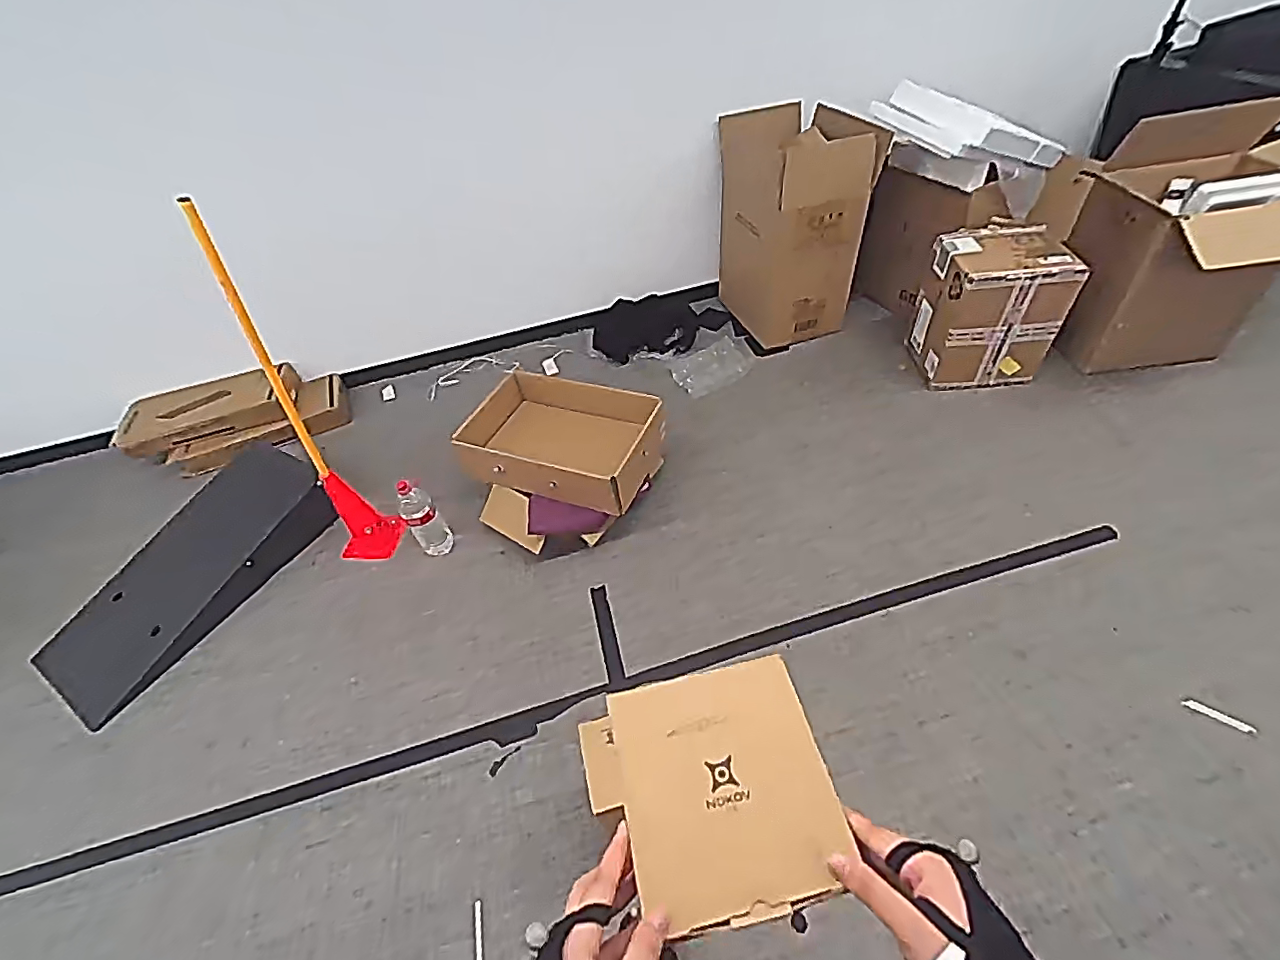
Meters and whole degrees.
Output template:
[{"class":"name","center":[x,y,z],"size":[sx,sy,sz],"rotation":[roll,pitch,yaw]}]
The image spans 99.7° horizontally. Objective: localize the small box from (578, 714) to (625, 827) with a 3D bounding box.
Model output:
[{"class":"small box","center":[-0.029,0.611,1.159],"size":[0.168,0.176,0.179],"rotation":[-15,48,-5]}]

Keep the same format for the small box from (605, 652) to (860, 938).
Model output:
[{"class":"small box","center":[0.070,0.288,0.496],"size":[0.168,0.176,0.179],"rotation":[-11,49,-6]}]
